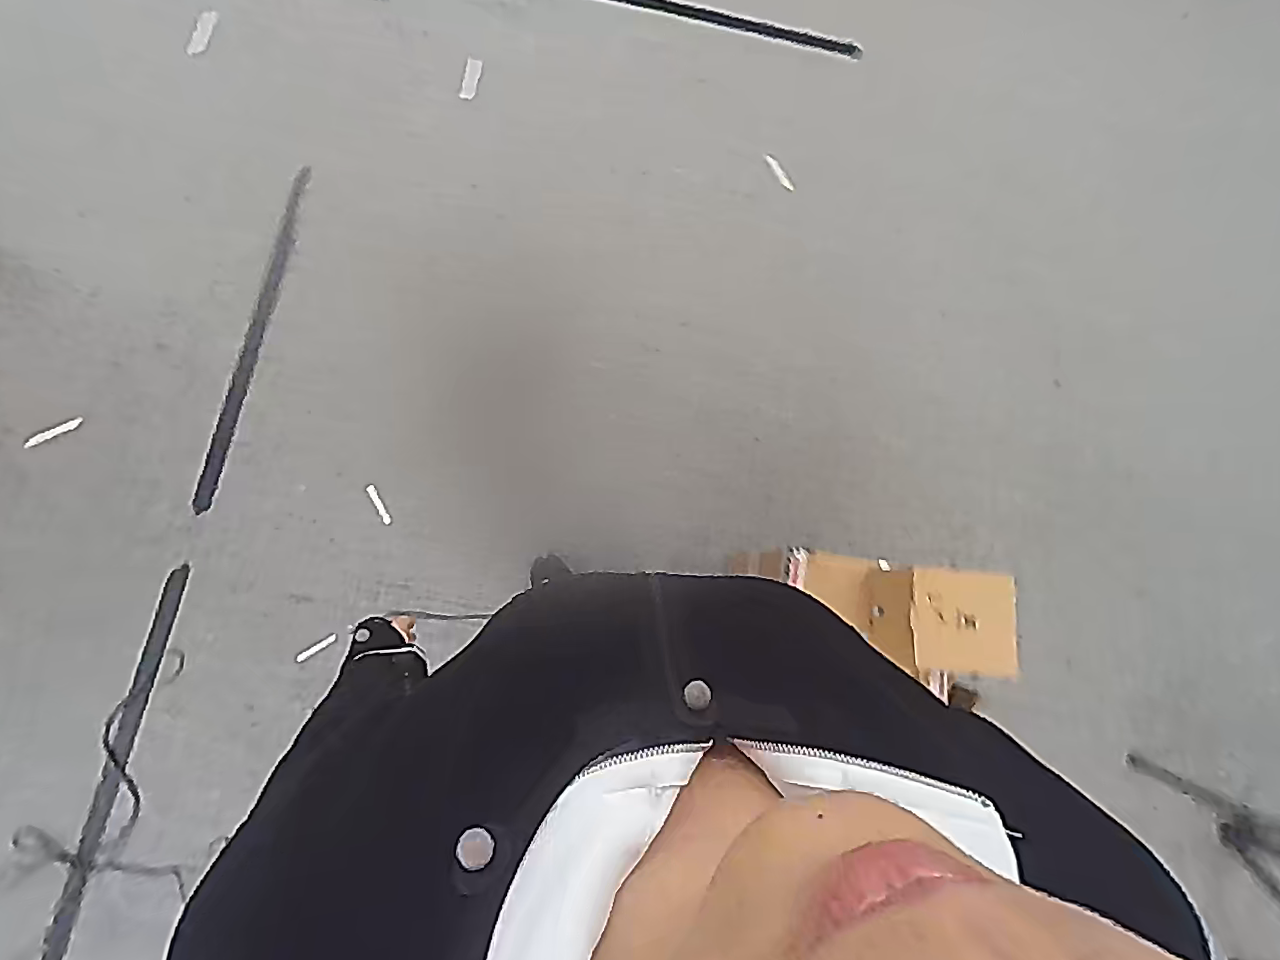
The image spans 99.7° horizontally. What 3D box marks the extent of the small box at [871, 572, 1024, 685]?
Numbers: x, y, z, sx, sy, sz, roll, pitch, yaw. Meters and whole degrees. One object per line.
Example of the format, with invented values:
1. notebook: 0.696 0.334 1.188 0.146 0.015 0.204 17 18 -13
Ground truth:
1. small box: 0.537 0.256 0.960 0.179 0.176 0.168 6 78 0
